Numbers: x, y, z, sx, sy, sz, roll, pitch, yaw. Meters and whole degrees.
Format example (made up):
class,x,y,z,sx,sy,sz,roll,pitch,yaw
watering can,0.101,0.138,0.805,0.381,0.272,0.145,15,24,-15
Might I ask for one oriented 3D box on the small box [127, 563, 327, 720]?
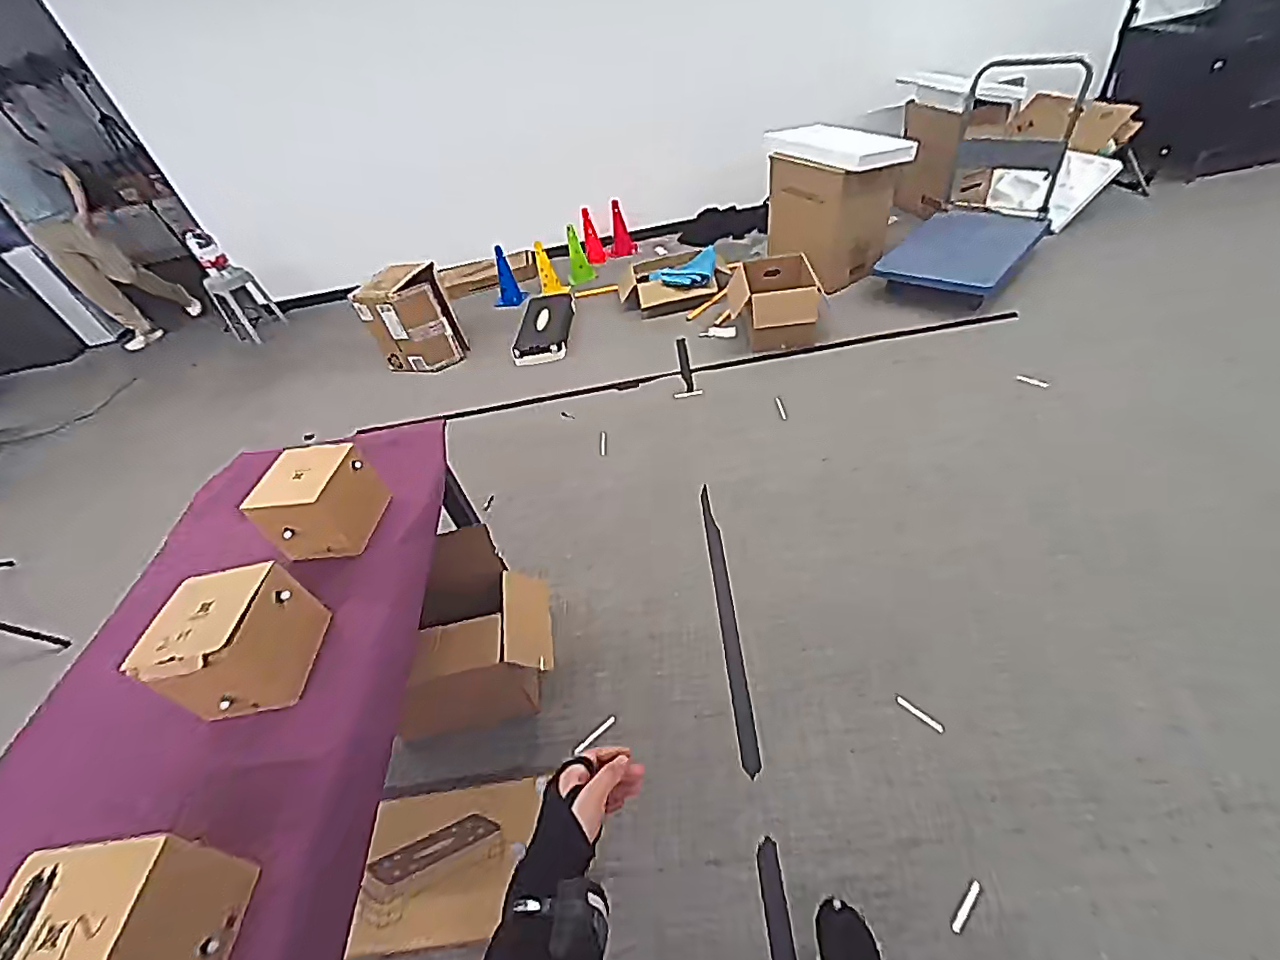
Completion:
class,x,y,z,sx,sy,sz,roll,pitch,yaw
small box,-0.659,0.267,0.894,0.168,0.176,0.179,-12,42,5

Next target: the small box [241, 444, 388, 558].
class,x,y,z,sx,sy,sz,roll,pitch,yaw
small box,-0.661,0.050,1.126,0.168,0.176,0.179,-6,43,9
